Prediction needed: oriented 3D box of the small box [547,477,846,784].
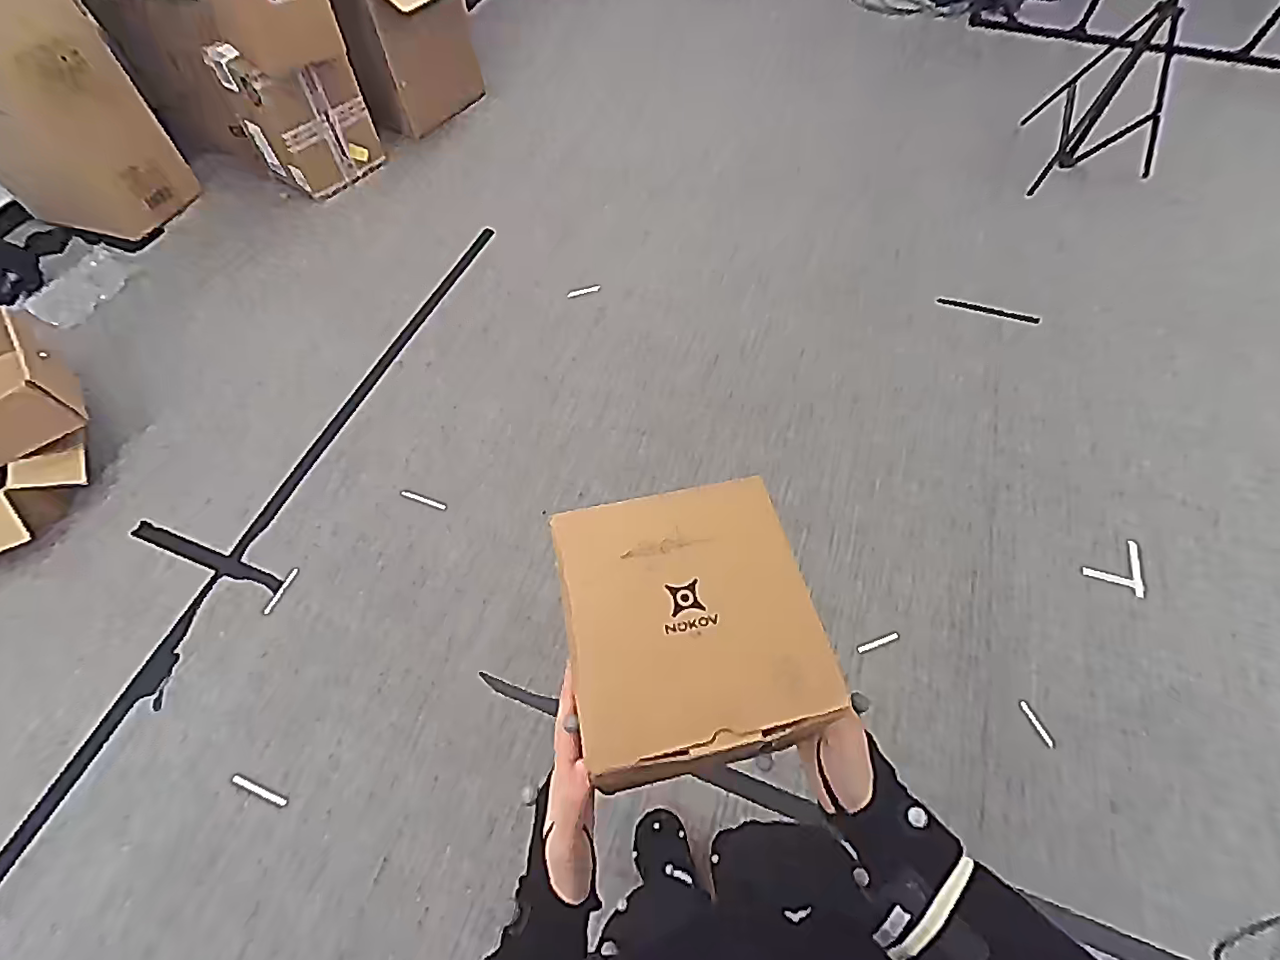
[{"bbox_3d":[0.029,0.126,0.427,0.168,0.176,0.179,-11,57,-8],"label":"small box"}]
